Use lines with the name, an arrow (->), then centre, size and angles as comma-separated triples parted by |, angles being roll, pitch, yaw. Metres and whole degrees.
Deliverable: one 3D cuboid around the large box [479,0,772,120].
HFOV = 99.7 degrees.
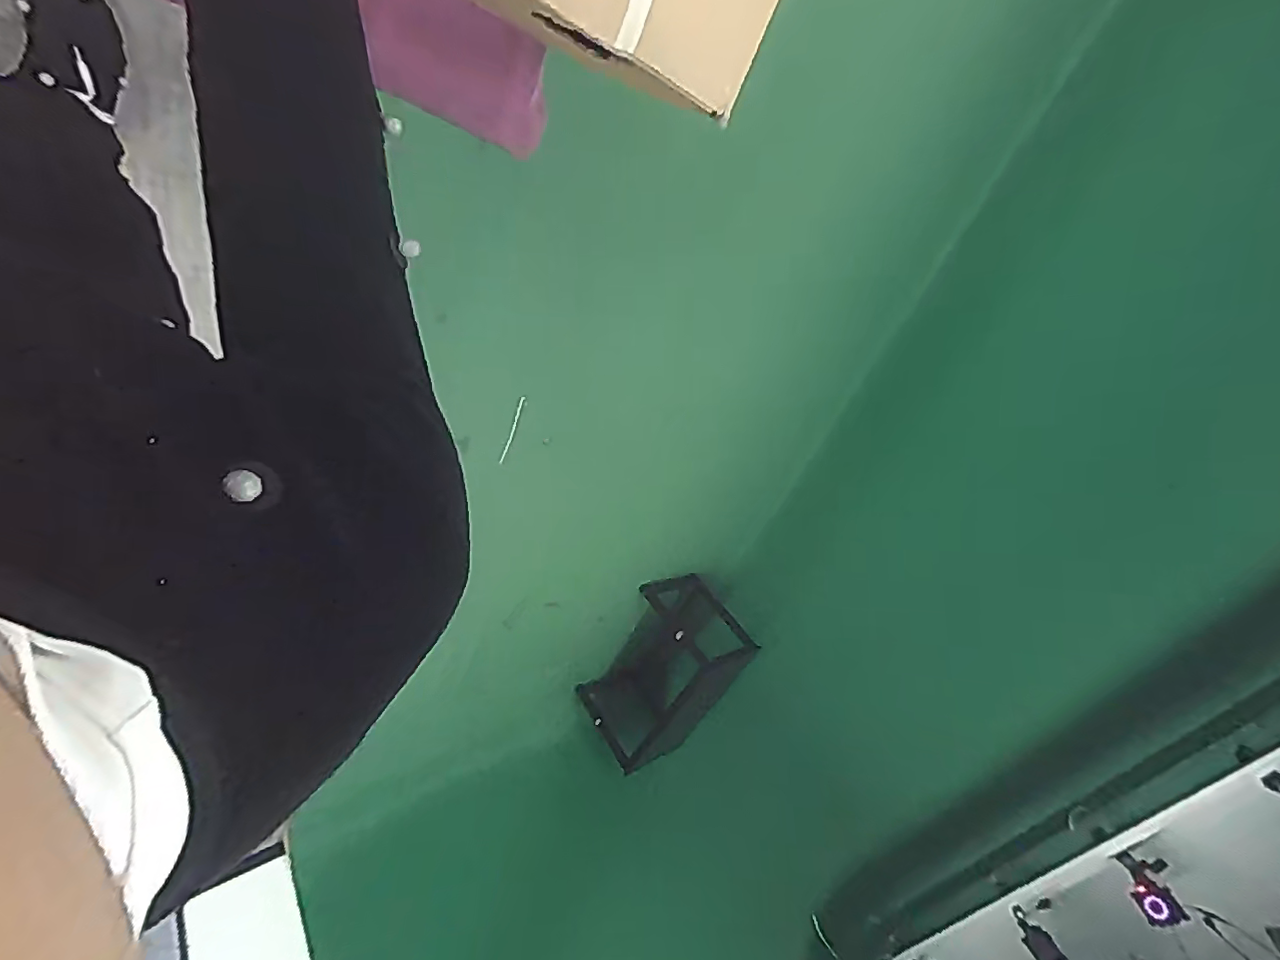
large box -> -0.028, -0.630, 0.467 | 0.320, 0.320, 0.408 | -4, 132, -43
